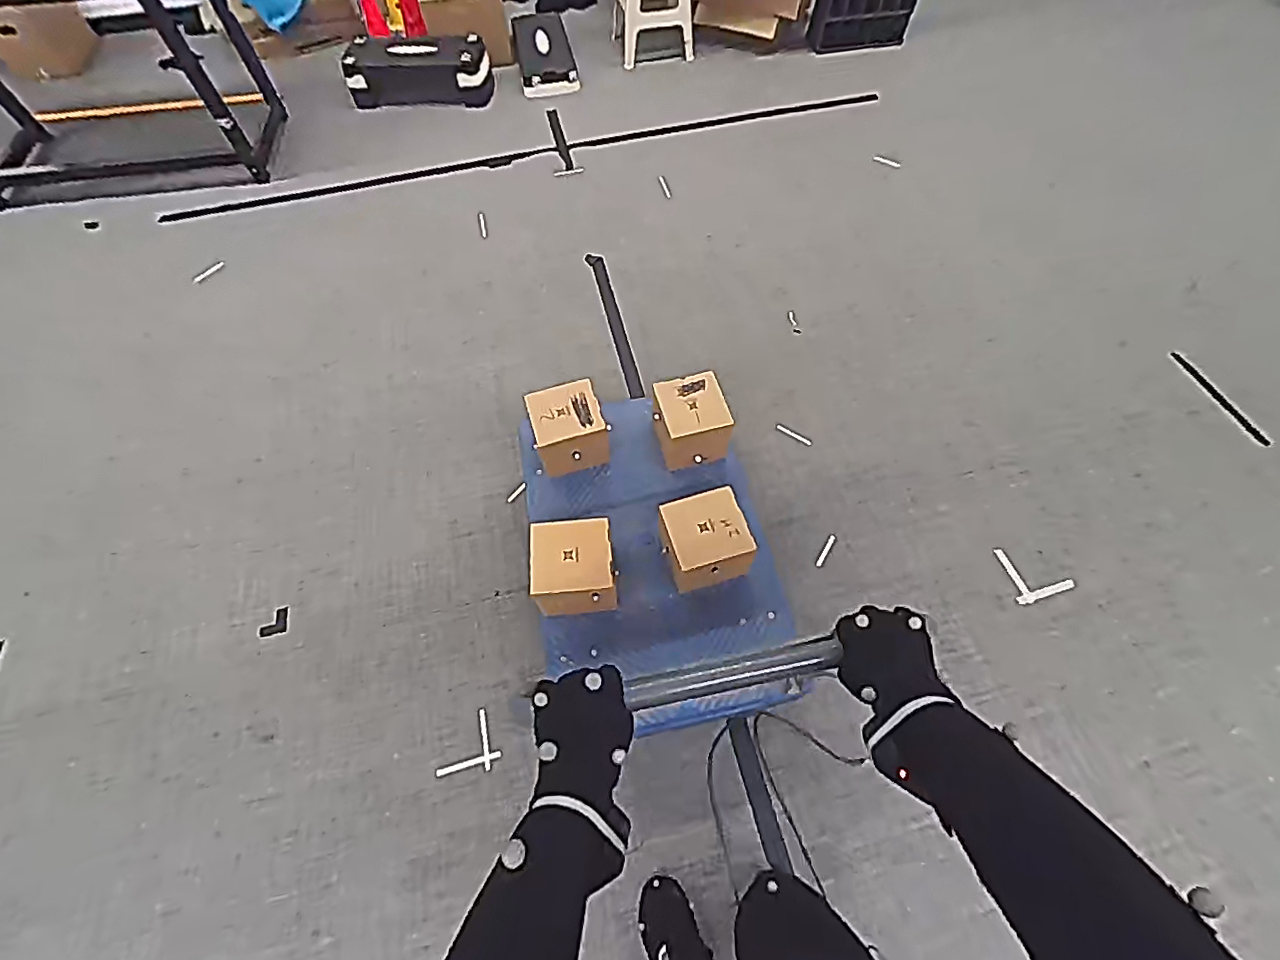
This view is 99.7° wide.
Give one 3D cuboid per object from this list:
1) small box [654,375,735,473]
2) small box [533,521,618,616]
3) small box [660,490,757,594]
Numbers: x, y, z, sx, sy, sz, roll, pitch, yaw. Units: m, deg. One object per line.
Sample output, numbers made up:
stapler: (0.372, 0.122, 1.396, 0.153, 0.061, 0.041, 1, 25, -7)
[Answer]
small box: (0.136, -0.145, 1.434, 0.168, 0.176, 0.179, -14, 63, -6)
small box: (-0.146, 0.209, 1.246, 0.179, 0.176, 0.168, -5, 61, -3)
small box: (0.153, 0.151, 1.271, 0.179, 0.176, 0.168, -15, 62, -7)
